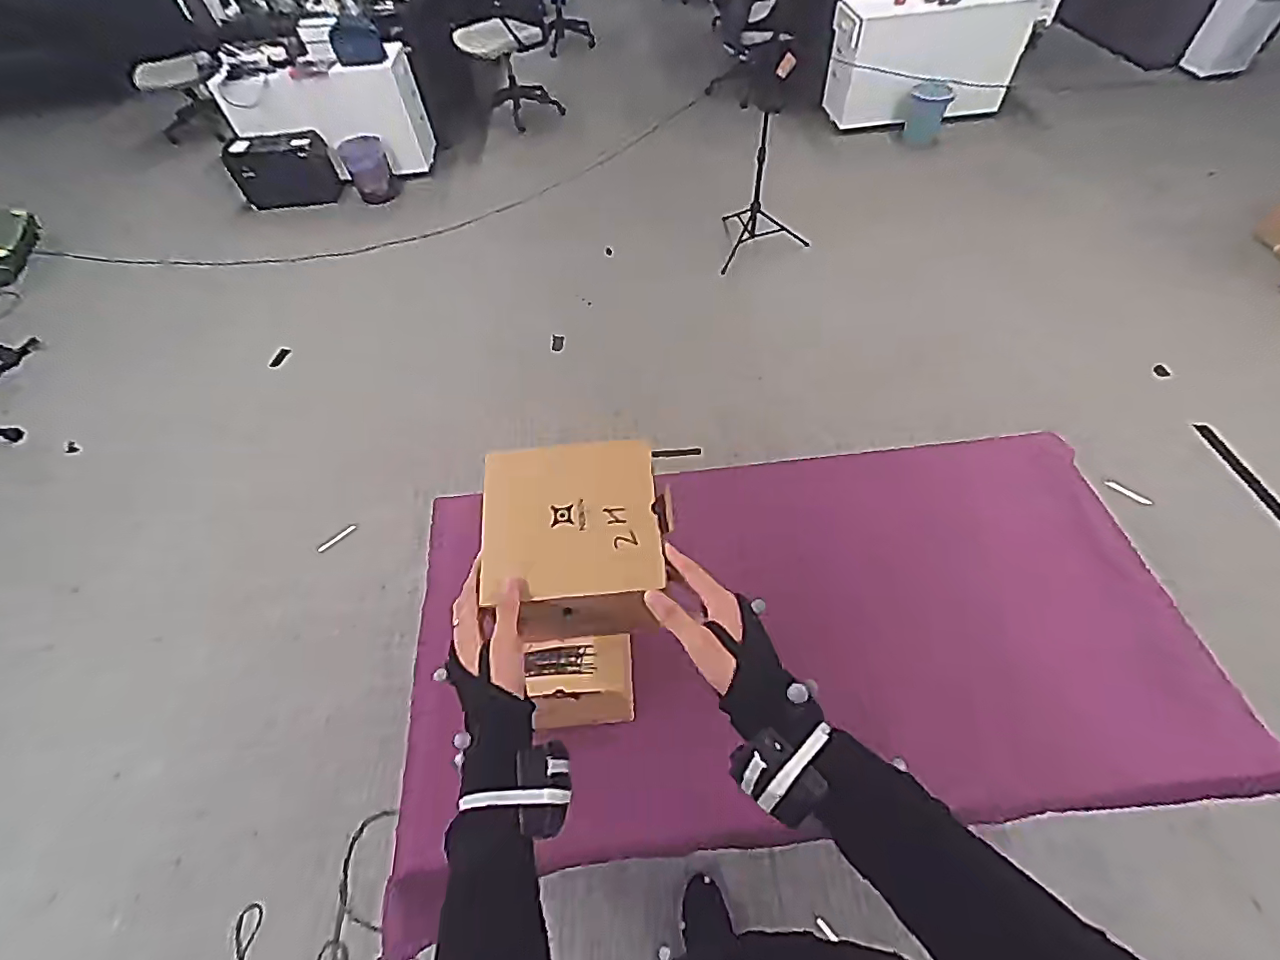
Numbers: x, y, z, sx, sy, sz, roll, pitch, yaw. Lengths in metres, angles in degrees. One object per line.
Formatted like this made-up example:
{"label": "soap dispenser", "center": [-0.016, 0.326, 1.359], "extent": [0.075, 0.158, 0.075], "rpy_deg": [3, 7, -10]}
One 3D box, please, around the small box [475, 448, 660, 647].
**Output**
{"label": "small box", "center": [-0.073, 0.082, 0.608], "extent": [0.179, 0.176, 0.168], "rpy_deg": [-5, 61, -3]}
